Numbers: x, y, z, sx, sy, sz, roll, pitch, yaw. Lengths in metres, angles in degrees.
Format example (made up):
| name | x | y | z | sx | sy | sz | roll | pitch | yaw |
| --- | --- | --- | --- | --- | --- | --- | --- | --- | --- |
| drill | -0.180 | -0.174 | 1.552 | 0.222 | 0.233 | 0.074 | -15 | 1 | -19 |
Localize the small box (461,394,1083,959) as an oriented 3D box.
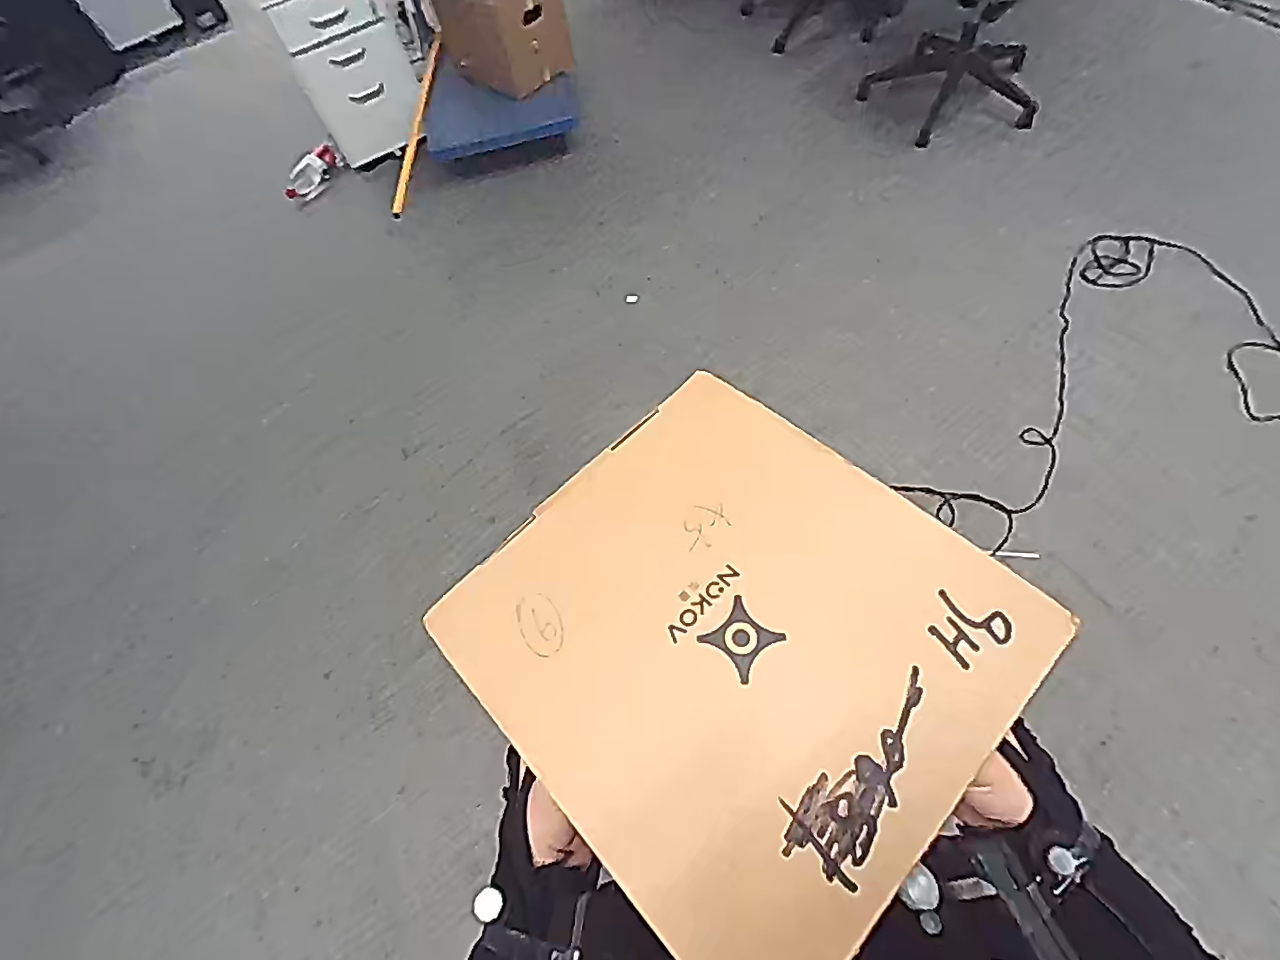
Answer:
| name | x | y | z | sx | sy | sz | roll | pitch | yaw |
| --- | --- | --- | --- | --- | --- | --- | --- | --- | --- |
| small box | 0.051 | 0.097 | 0.275 | 0.168 | 0.176 | 0.179 | -43 | 63 | -14 |
